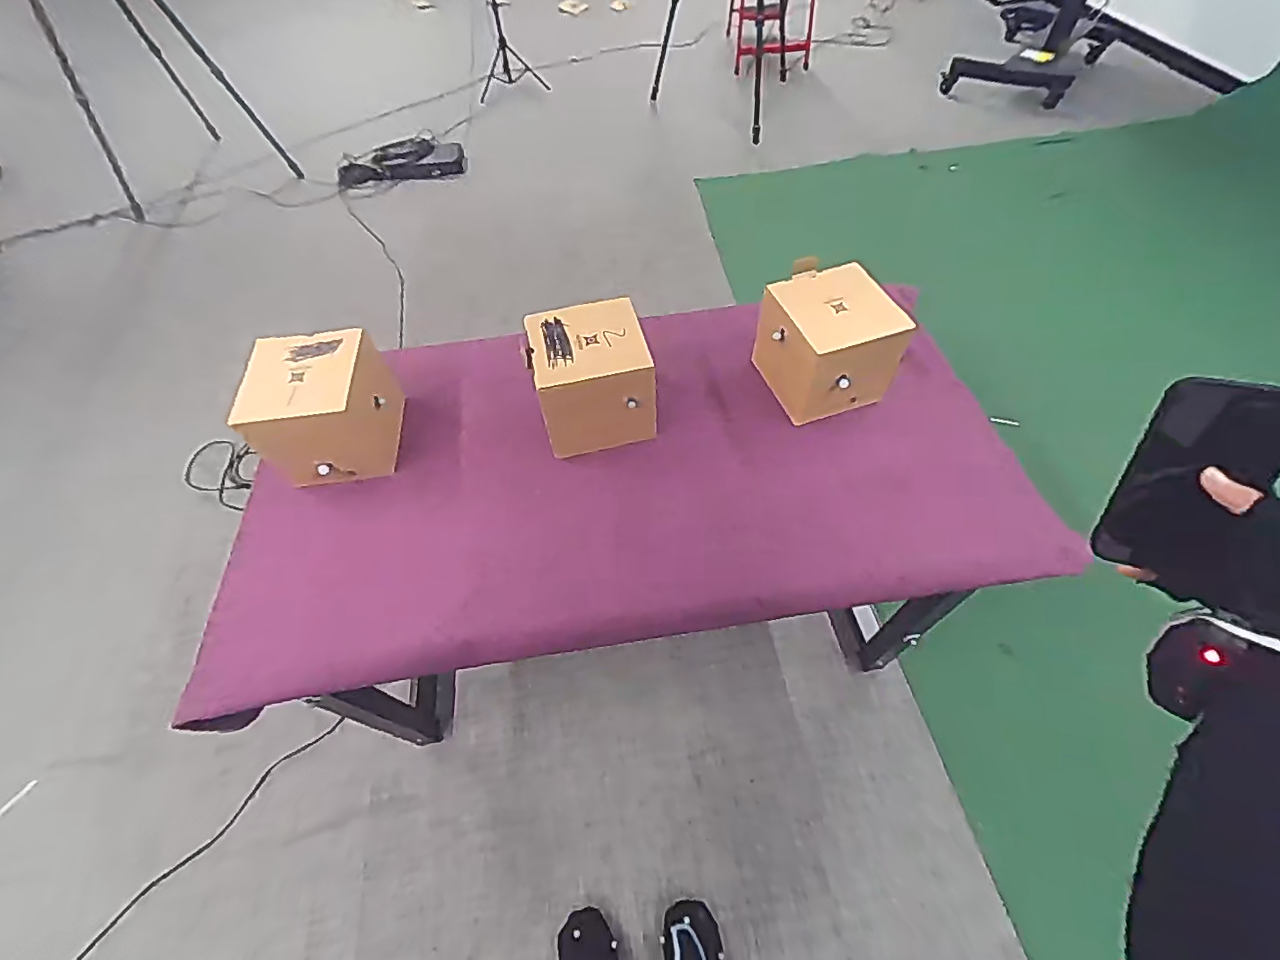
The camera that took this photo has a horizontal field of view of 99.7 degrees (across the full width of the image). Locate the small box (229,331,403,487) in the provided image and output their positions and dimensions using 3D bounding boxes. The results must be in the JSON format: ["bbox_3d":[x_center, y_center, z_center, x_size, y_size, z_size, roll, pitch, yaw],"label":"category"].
[{"bbox_3d":[-0.497,-0.110,0.864,0.168,0.176,0.179,-7,57,-2],"label":"small box"}]

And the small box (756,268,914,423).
[{"bbox_3d":[0.310,-0.214,0.901,0.168,0.176,0.179,-17,56,-8],"label":"small box"}]
